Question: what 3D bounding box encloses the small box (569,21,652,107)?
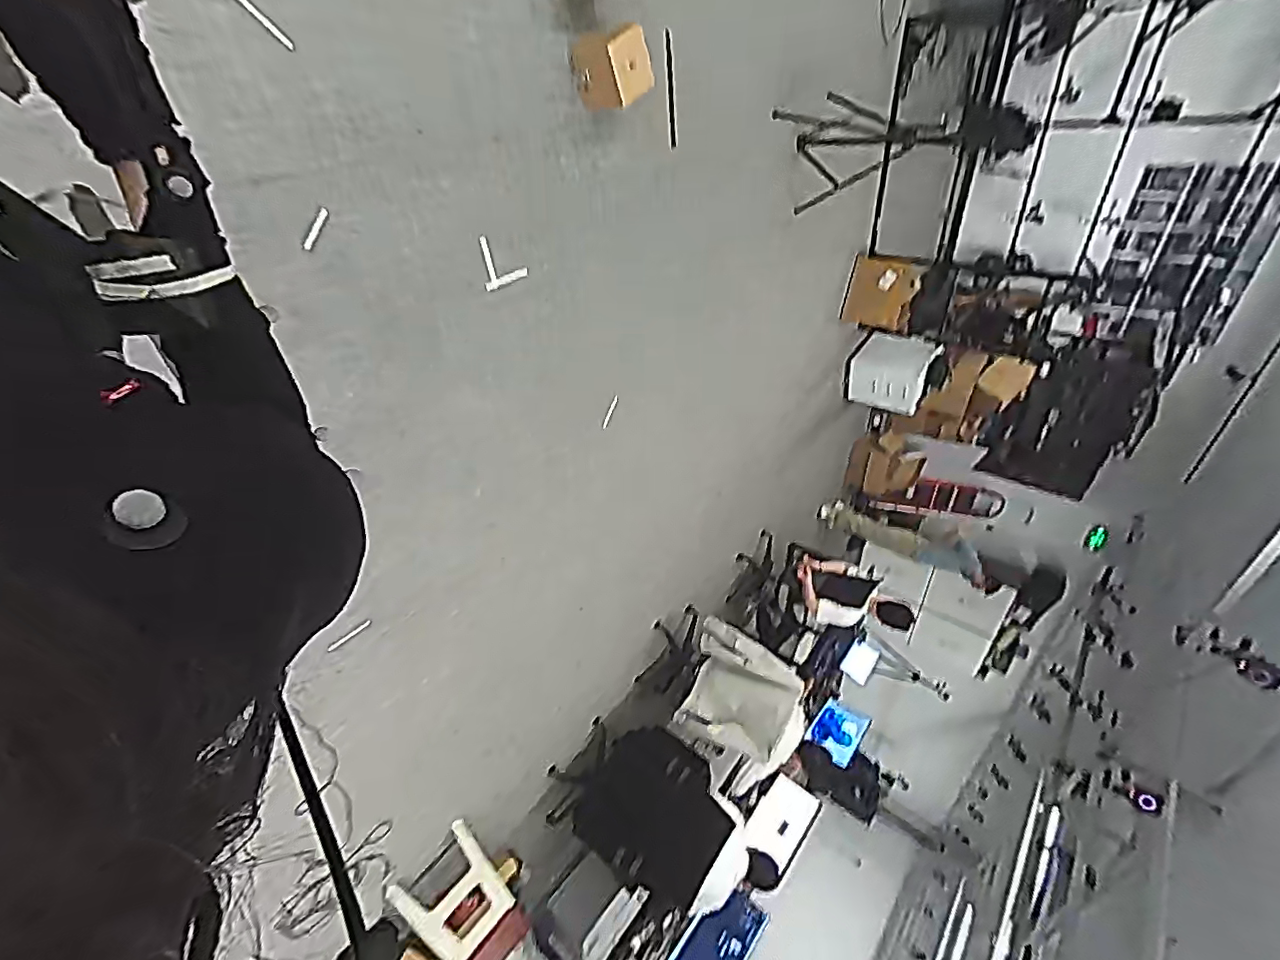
[{"bbox_3d":[-0.094,-1.320,1.721,0.179,0.176,0.168,-51,142,-21],"label":"small box"}]
